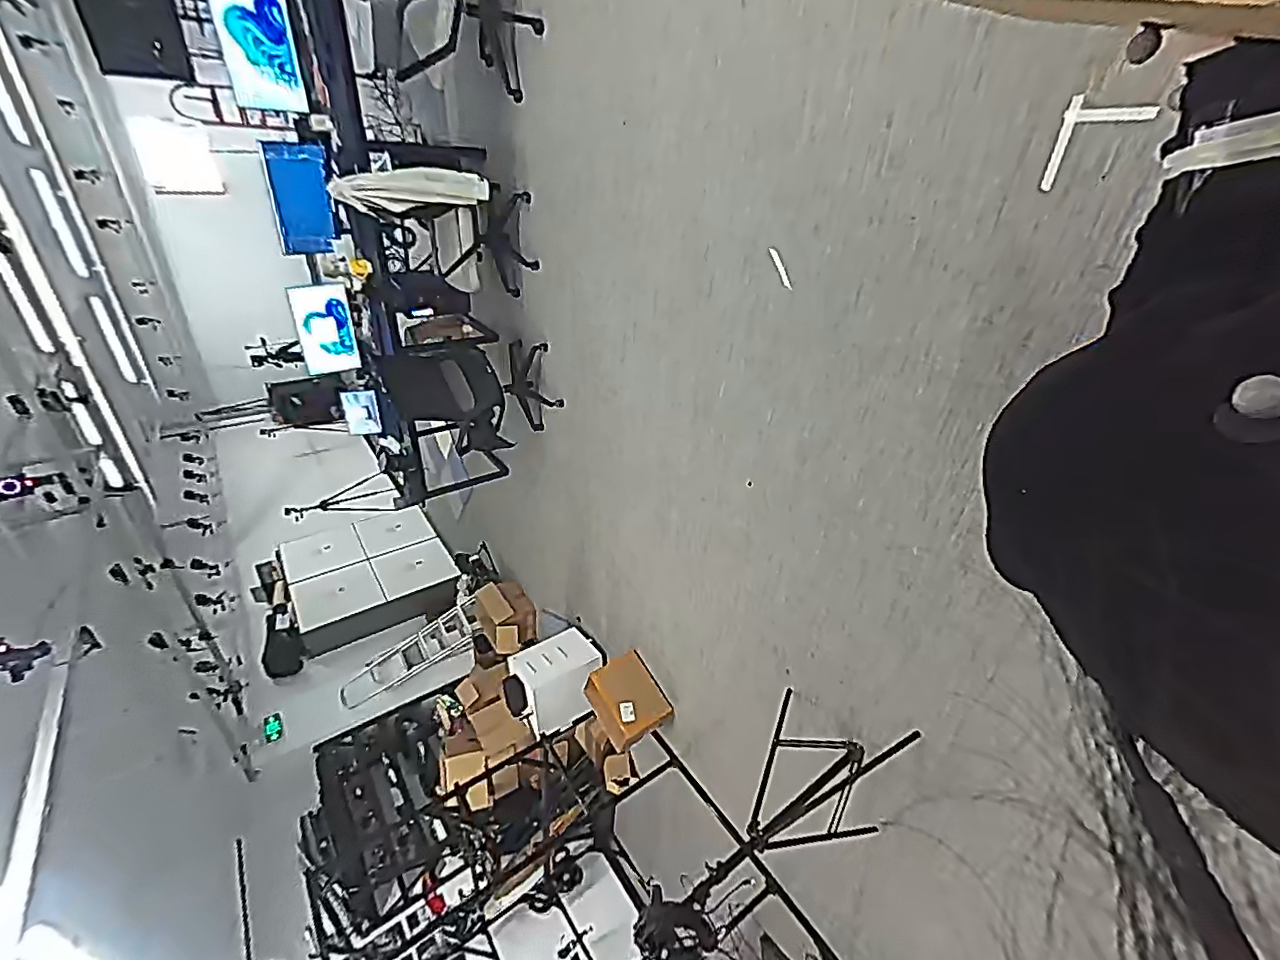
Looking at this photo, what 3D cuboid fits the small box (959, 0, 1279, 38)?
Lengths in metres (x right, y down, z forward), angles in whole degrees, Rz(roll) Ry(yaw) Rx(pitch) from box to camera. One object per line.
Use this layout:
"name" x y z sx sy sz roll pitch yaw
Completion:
"small box" 0.265 -0.310 0.236 0.179 0.176 0.168 47 144 36
